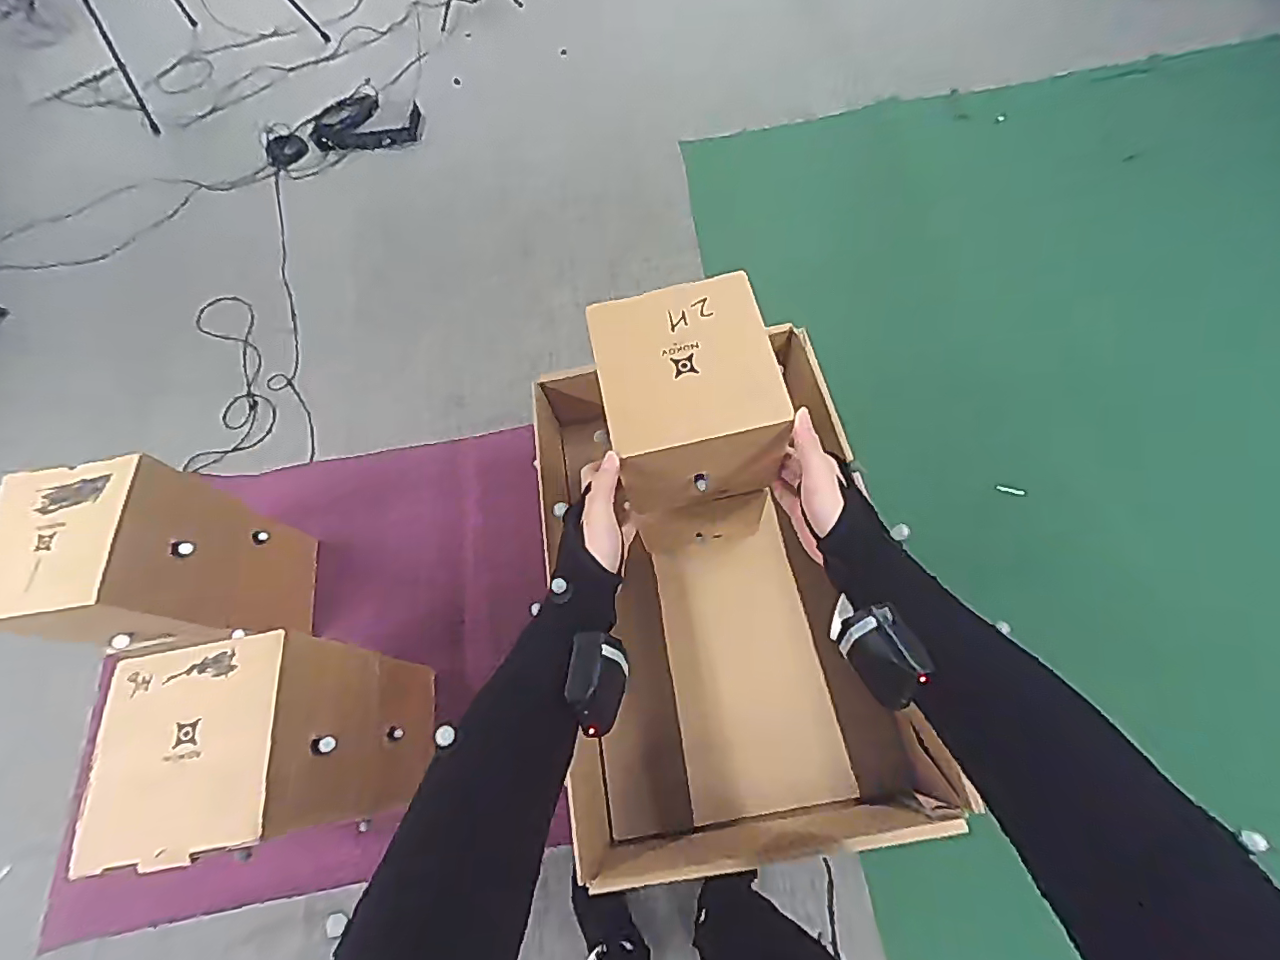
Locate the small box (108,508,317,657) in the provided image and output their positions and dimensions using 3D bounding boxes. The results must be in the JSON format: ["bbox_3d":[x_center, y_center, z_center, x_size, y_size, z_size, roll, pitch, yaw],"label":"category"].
[{"bbox_3d":[-0.611,0.164,0.801,0.168,0.176,0.179,-12,64,1],"label":"small box"}]

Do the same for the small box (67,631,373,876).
[{"bbox_3d":[-0.394,0.265,0.547,0.168,0.176,0.179,-10,64,0],"label":"small box"}]

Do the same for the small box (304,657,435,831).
[{"bbox_3d":[-0.377,0.339,0.693,0.168,0.176,0.179,-10,63,1],"label":"small box"}]

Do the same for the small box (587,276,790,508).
[{"bbox_3d":[0.049,-0.081,0.582,0.168,0.176,0.179,-12,67,1],"label":"small box"}]

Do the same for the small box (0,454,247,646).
[{"bbox_3d":[-0.622,0.091,0.653,0.168,0.176,0.179,-8,65,3],"label":"small box"}]
